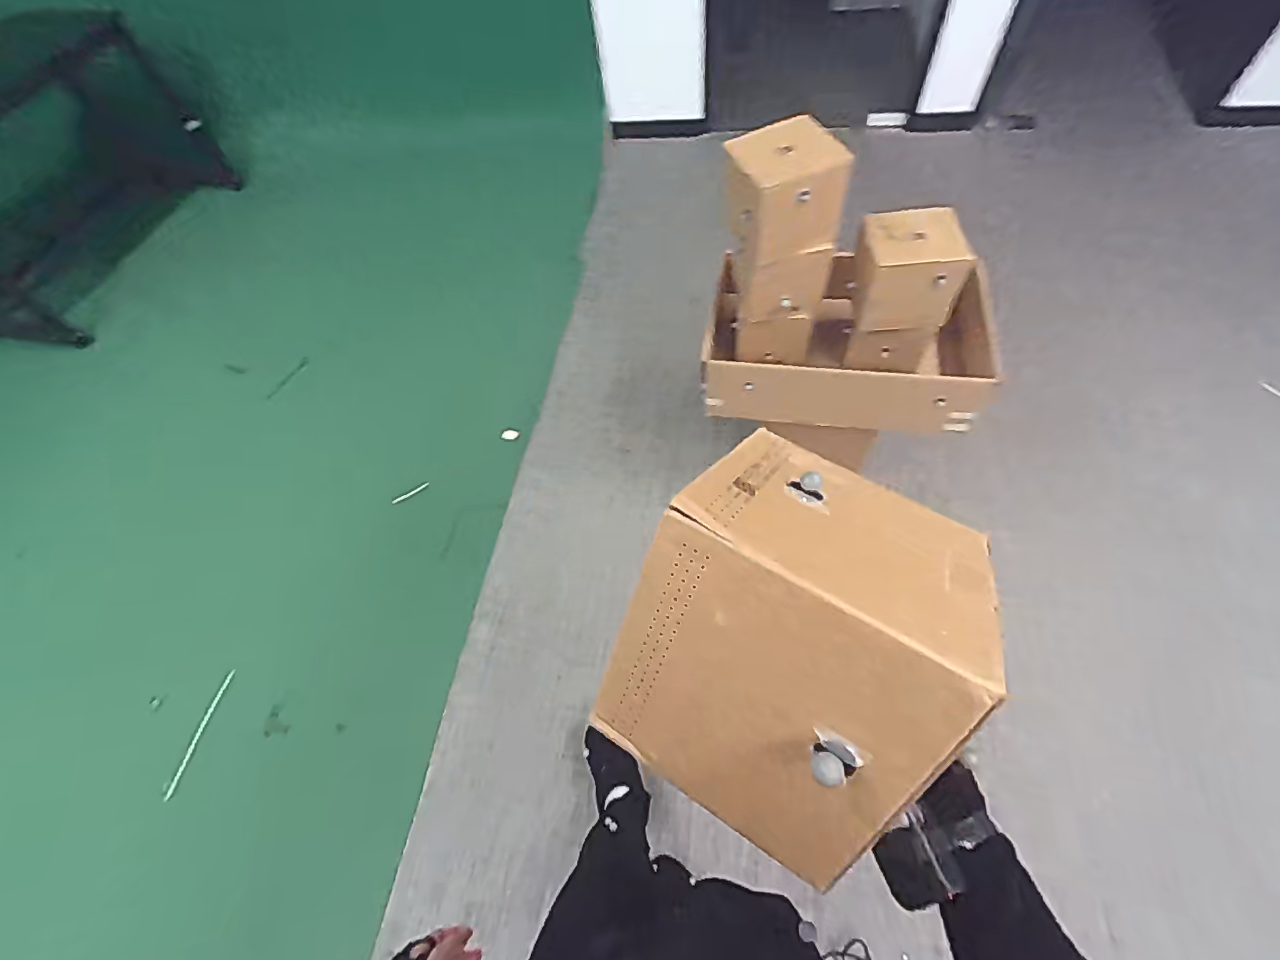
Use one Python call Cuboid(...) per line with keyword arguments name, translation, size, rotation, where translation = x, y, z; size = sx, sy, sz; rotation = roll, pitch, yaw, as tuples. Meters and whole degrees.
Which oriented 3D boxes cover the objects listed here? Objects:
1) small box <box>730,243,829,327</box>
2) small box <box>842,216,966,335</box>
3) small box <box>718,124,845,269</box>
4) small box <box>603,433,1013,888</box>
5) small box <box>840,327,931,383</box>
Cuboid(name="small box", translation=(0.294, -0.465, 1.186), size=(0.168, 0.176, 0.179), rotation=(-9, 59, 2))
Cuboid(name="small box", translation=(0.539, -0.421, 1.129), size=(0.179, 0.176, 0.168), rotation=(-2, 58, 7))
Cuboid(name="small box", translation=(0.263, -0.540, 1.044), size=(0.179, 0.176, 0.168), rotation=(-21, 60, -5))
Cuboid(name="small box", translation=(0.098, 0.094, 0.349), size=(0.176, 0.179, 0.168), rotation=(29, 29, 19))
Cuboid(name="small box", translation=(0.581, -0.354, 1.277), size=(0.168, 0.176, 0.179), rotation=(15, 62, 16))
